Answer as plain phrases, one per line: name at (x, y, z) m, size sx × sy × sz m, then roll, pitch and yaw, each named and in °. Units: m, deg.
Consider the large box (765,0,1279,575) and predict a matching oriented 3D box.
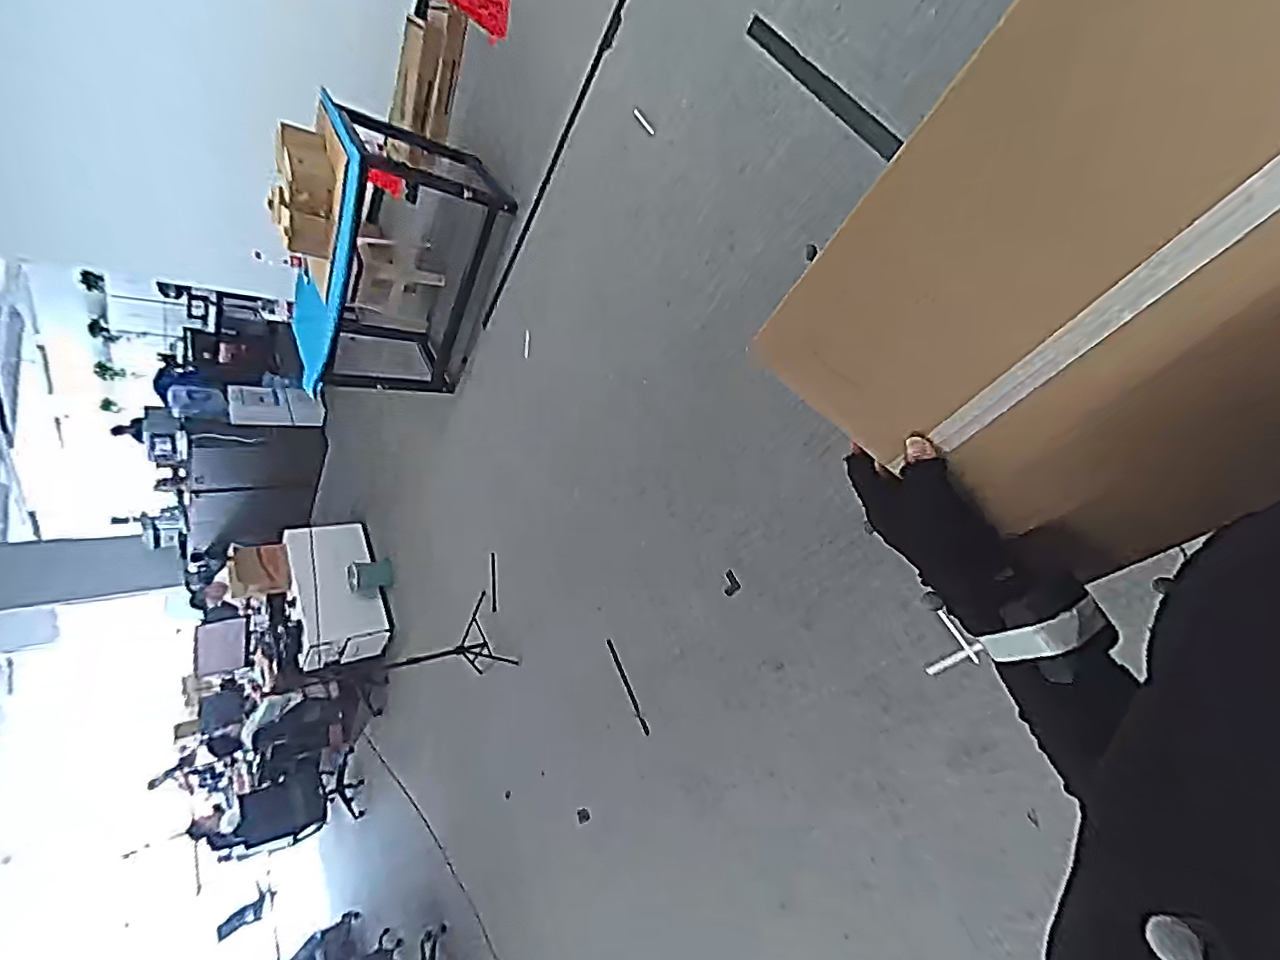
large box at (0.371, -0.207, 0.416) m, size 0.320 × 0.320 × 0.408 m, roll 40°, pitch 134°, yaw 3°
